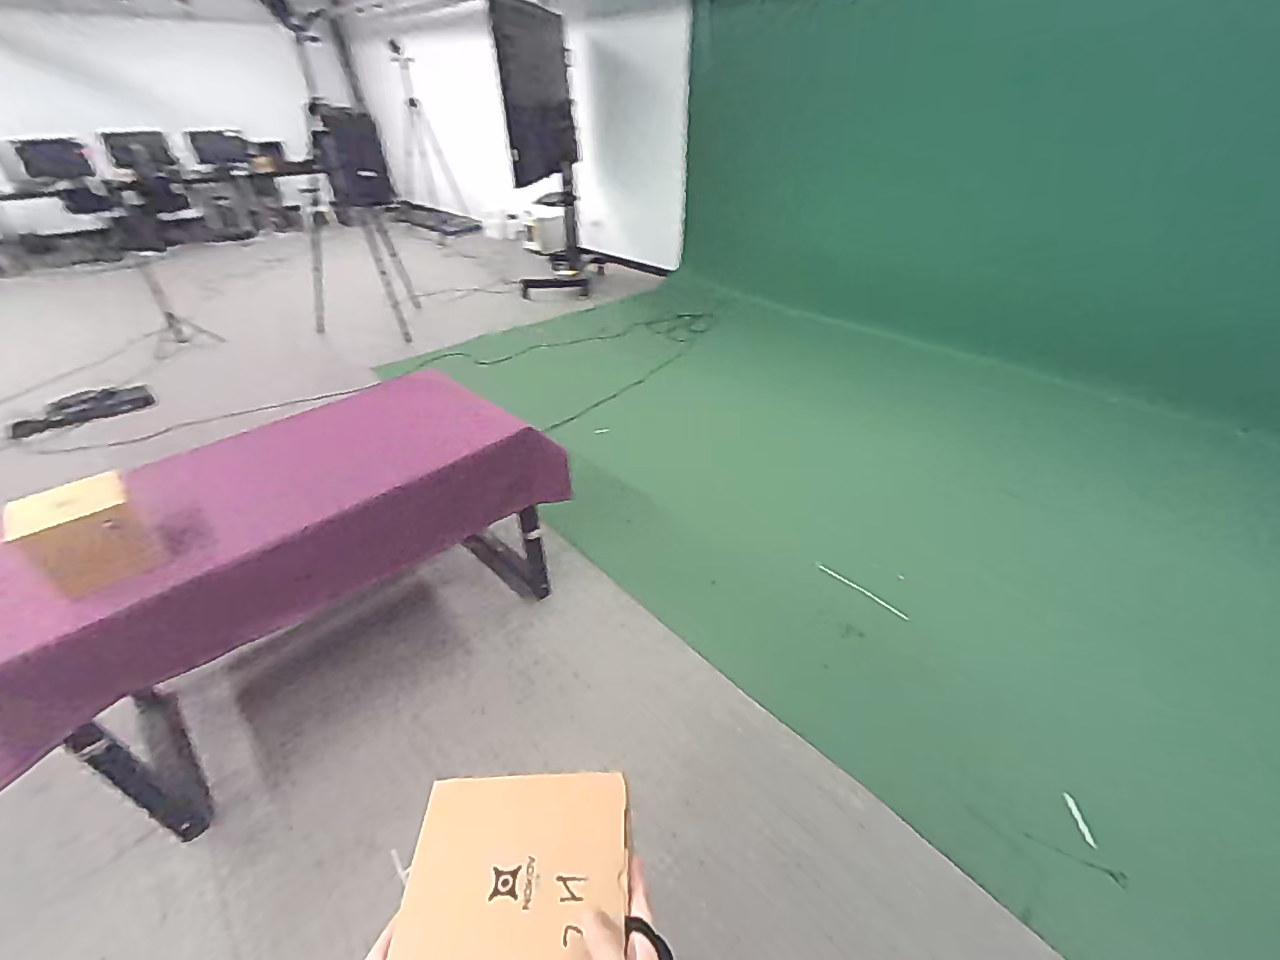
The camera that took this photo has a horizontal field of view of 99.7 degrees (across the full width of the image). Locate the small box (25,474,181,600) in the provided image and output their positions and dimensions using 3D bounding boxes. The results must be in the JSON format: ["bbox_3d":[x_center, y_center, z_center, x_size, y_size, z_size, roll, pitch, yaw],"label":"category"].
[{"bbox_3d":[-1.122,0.120,1.139,0.179,0.176,0.168,-29,43,-33],"label":"small box"}]

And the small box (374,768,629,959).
[{"bbox_3d":[-0.103,0.379,0.474,0.179,0.176,0.168,-3,37,0],"label":"small box"}]
